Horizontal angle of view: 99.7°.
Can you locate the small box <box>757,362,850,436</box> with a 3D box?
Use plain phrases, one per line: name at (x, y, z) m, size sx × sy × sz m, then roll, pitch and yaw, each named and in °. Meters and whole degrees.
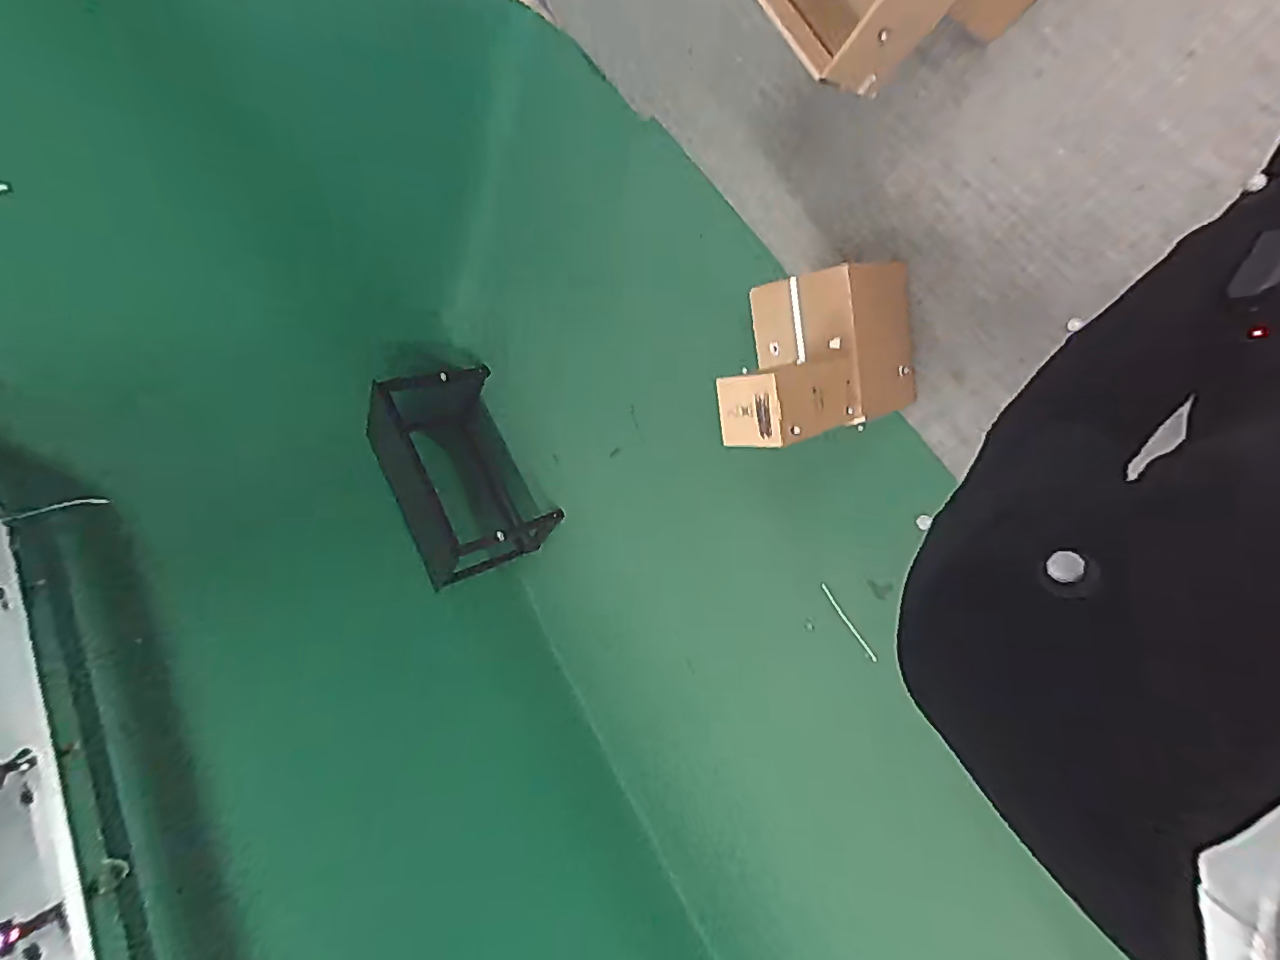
small box at (0.430, -0.213, 1.406) m, size 0.179 × 0.176 × 0.168 m, roll 8°, pitch 110°, yaw 49°
